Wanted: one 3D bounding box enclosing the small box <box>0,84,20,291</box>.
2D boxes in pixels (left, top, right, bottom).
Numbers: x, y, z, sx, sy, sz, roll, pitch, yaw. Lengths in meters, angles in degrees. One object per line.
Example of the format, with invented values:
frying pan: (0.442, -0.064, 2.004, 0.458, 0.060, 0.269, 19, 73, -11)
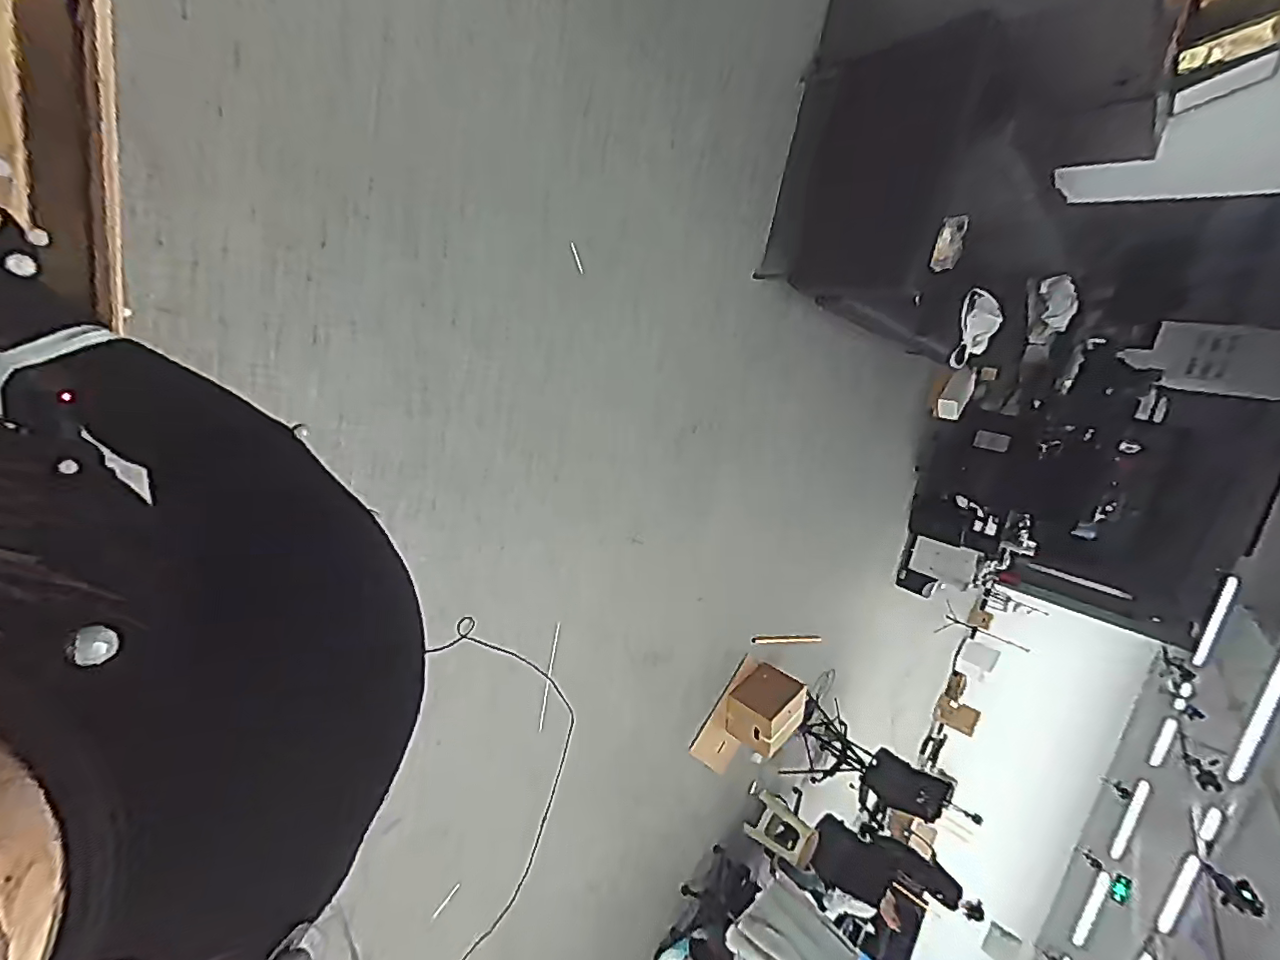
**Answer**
small box: (-0.622, -0.272, 0.419, 0.168, 0.176, 0.179, 3, 76, -43)
